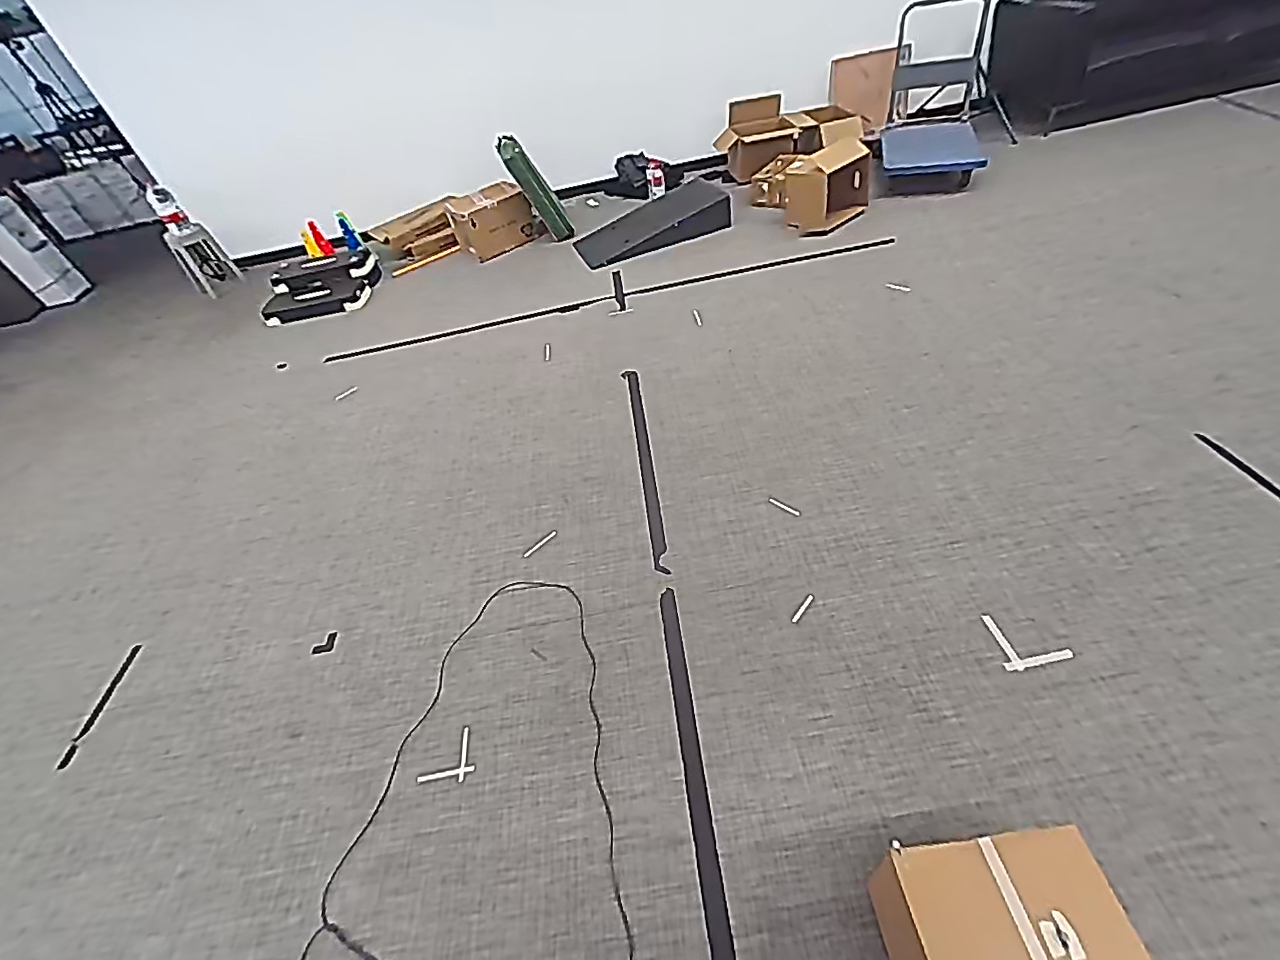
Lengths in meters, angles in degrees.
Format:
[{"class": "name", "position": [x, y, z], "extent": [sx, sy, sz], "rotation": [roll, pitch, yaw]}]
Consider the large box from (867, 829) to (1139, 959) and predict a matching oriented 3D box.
[{"class": "large box", "position": [0.617, 0.864, 0.891], "extent": [0.320, 0.320, 0.408], "rotation": [-9, 43, 2]}]
